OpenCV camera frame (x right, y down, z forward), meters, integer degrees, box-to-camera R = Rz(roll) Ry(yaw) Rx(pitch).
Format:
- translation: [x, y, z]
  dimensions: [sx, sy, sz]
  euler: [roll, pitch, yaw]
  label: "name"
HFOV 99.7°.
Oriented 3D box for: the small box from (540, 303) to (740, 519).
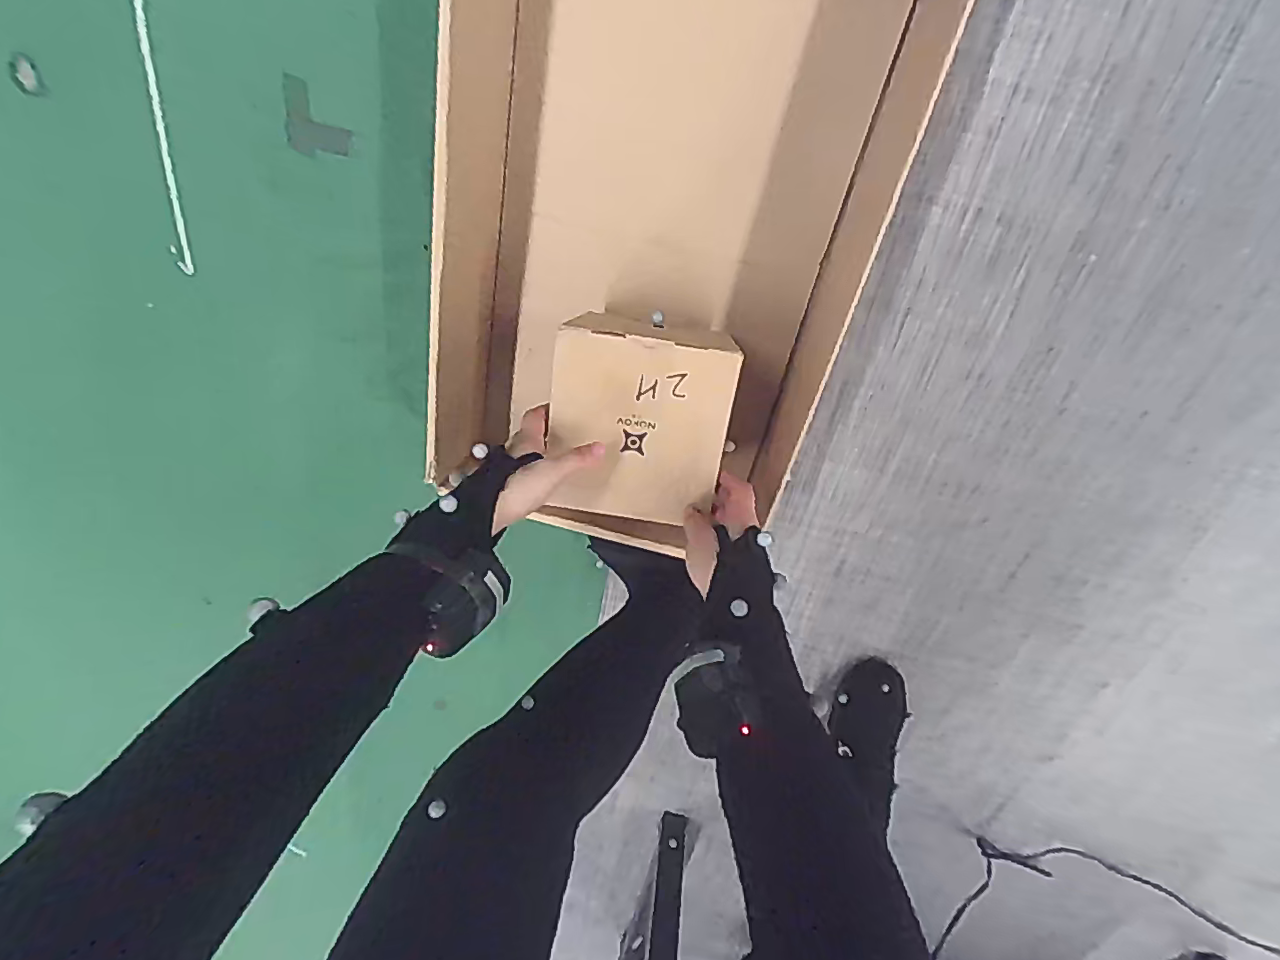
- translation: [-0.001, -0.082, 0.571]
  dimensions: [0.168, 0.176, 0.179]
  euler: [9, 111, -1]
  label: "small box"
